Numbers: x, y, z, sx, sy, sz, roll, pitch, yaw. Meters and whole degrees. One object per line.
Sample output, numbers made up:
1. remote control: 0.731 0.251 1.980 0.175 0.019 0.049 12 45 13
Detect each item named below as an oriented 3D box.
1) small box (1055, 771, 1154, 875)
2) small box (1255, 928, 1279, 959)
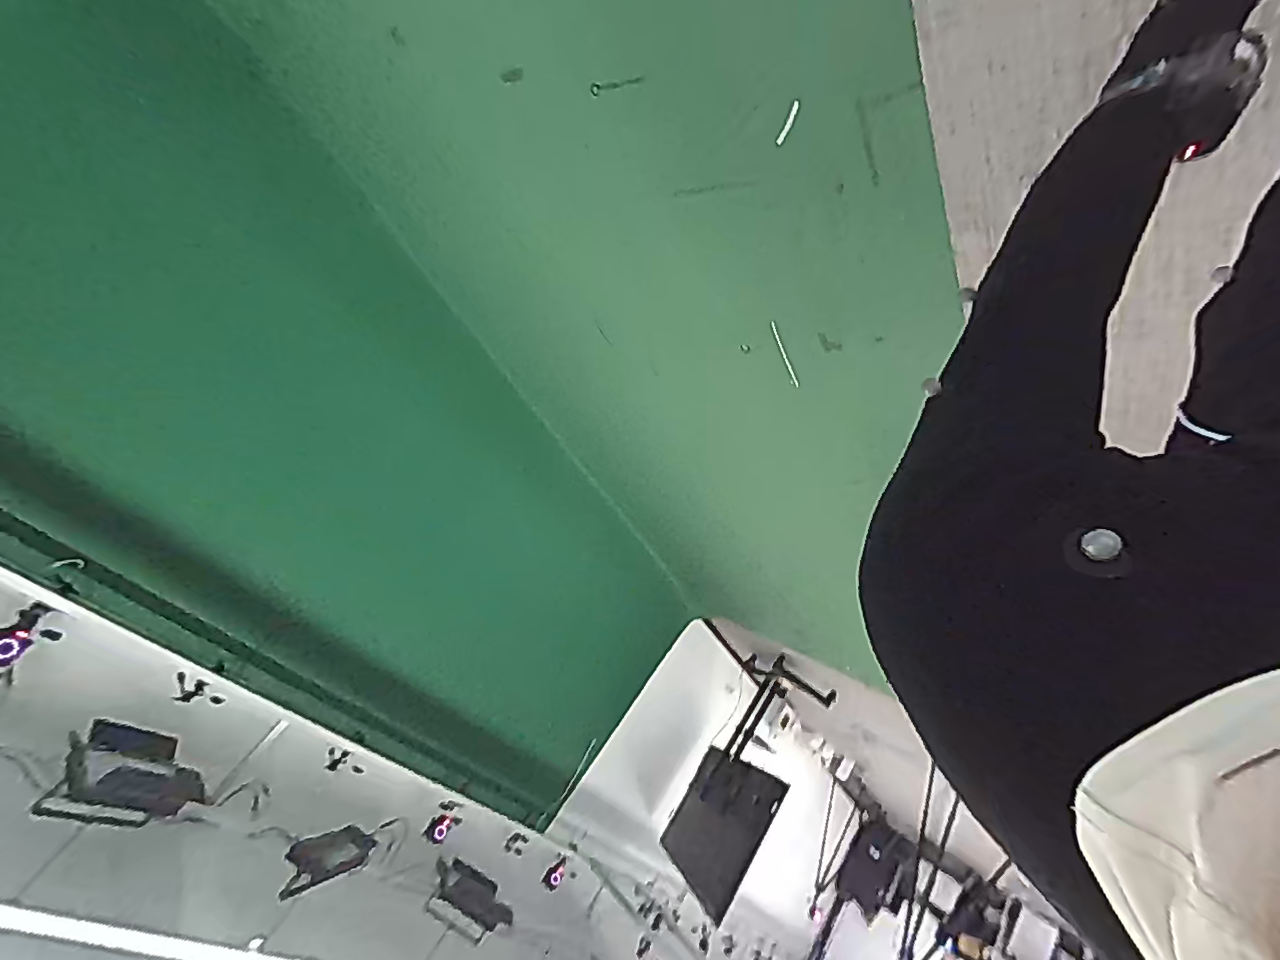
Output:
1. small box: 1.293 0.944 1.508 0.179 0.176 0.168 13 148 49
2. small box: 1.448 1.118 1.154 0.179 0.176 0.168 13 147 50
